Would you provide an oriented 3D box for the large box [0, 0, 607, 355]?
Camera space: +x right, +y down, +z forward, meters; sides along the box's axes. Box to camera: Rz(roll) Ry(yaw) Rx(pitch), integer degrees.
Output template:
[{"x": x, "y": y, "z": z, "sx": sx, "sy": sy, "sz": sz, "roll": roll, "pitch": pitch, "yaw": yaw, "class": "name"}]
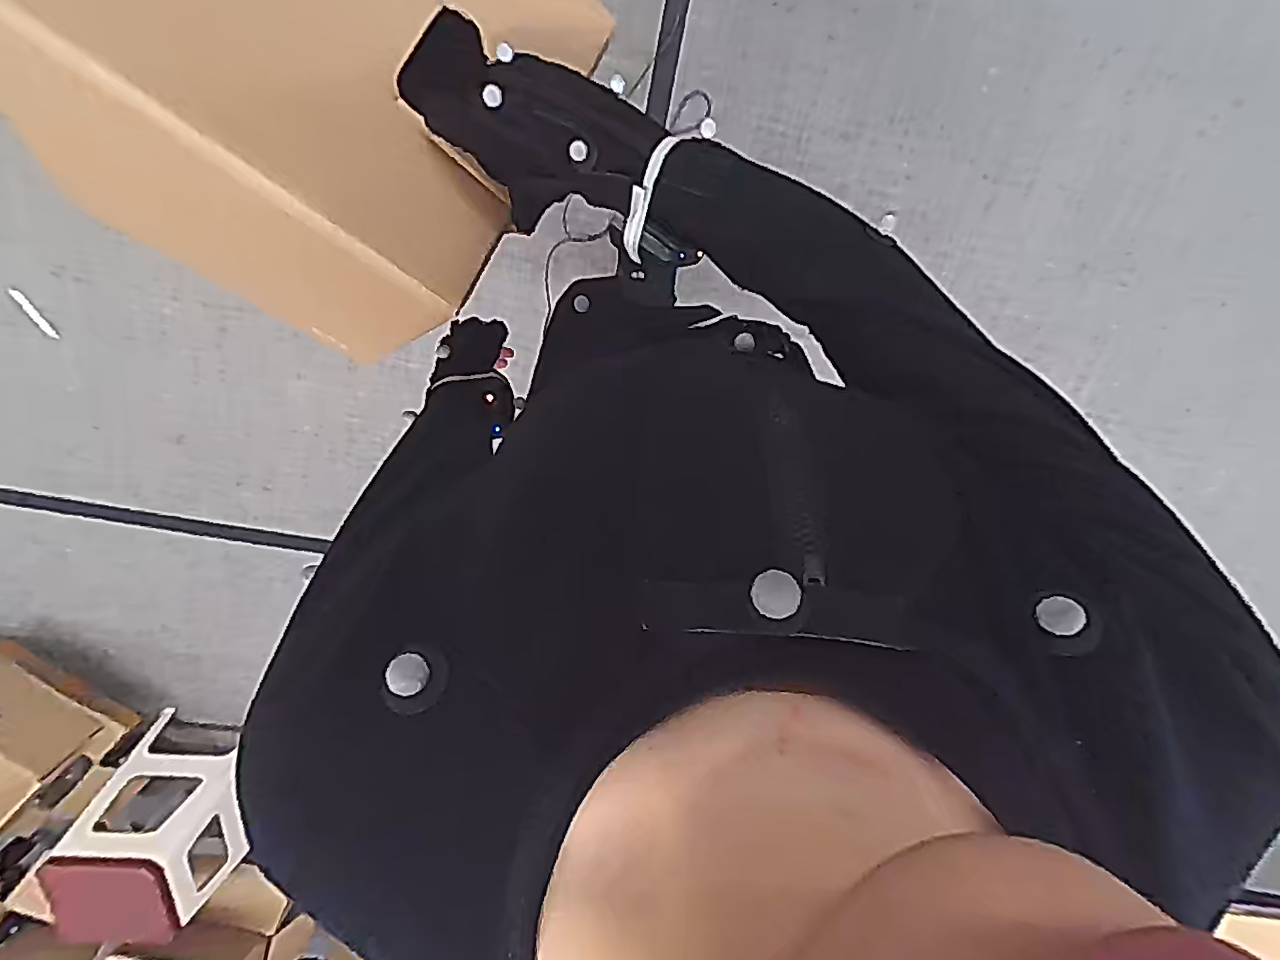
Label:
[{"x": -0.307, "y": -0.358, "z": 0.540, "sx": 0.320, "sy": 0.408, "sz": 0.320, "roll": 34, "pitch": 75, "yaw": -33, "class": "large box"}]
